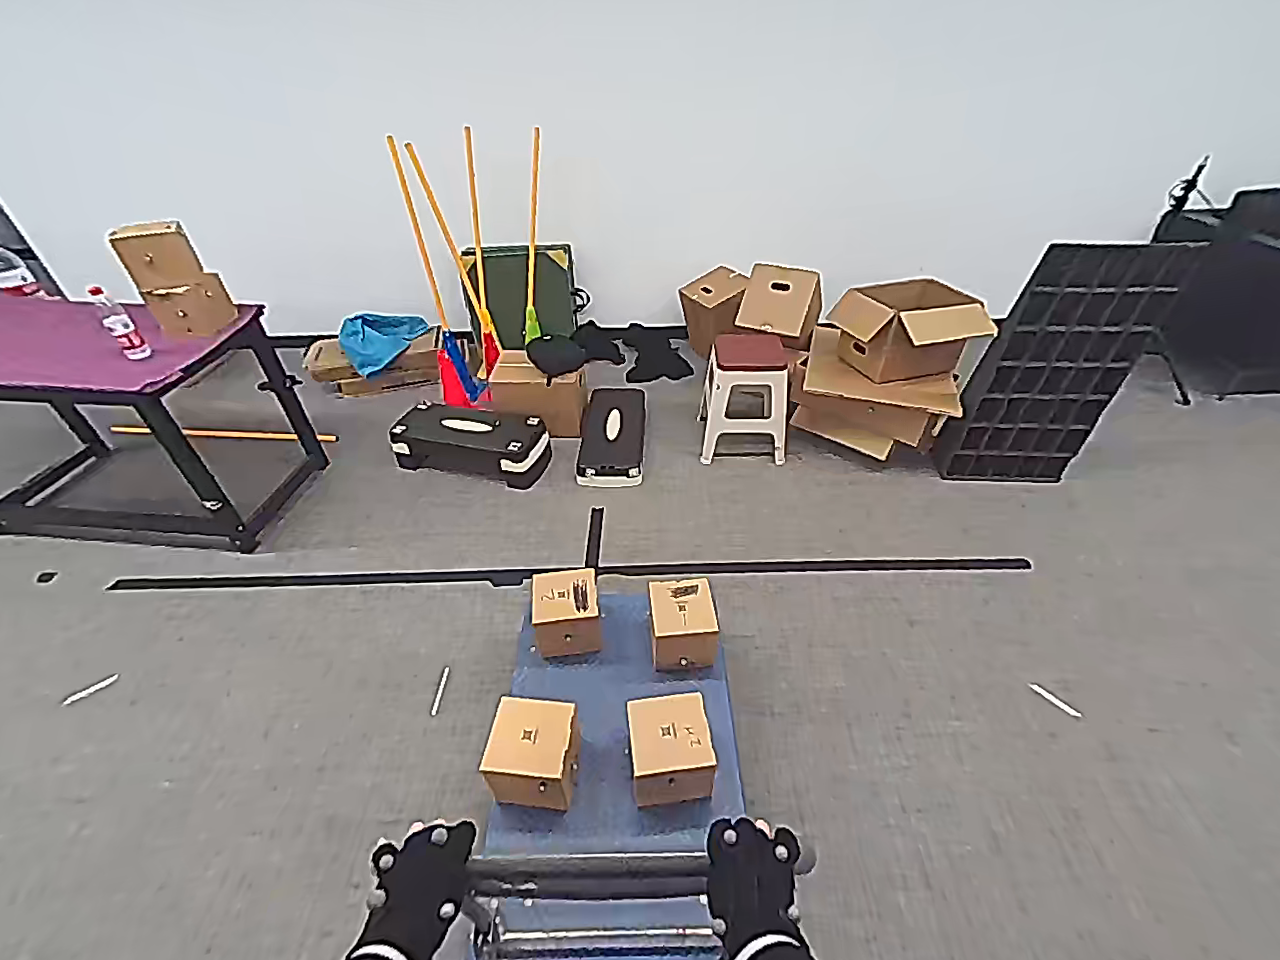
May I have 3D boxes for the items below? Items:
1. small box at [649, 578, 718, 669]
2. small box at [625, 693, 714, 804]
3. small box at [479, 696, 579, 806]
[{"bbox_3d":[0.112,0.392,1.476,0.168,0.176,0.179,-4,41,-3],"label":"small box"},{"bbox_3d":[0.063,0.607,1.221,0.179,0.176,0.168,-5,40,-4],"label":"small box"},{"bbox_3d":[-0.241,0.613,1.222,0.179,0.176,0.168,4,40,4],"label":"small box"}]
